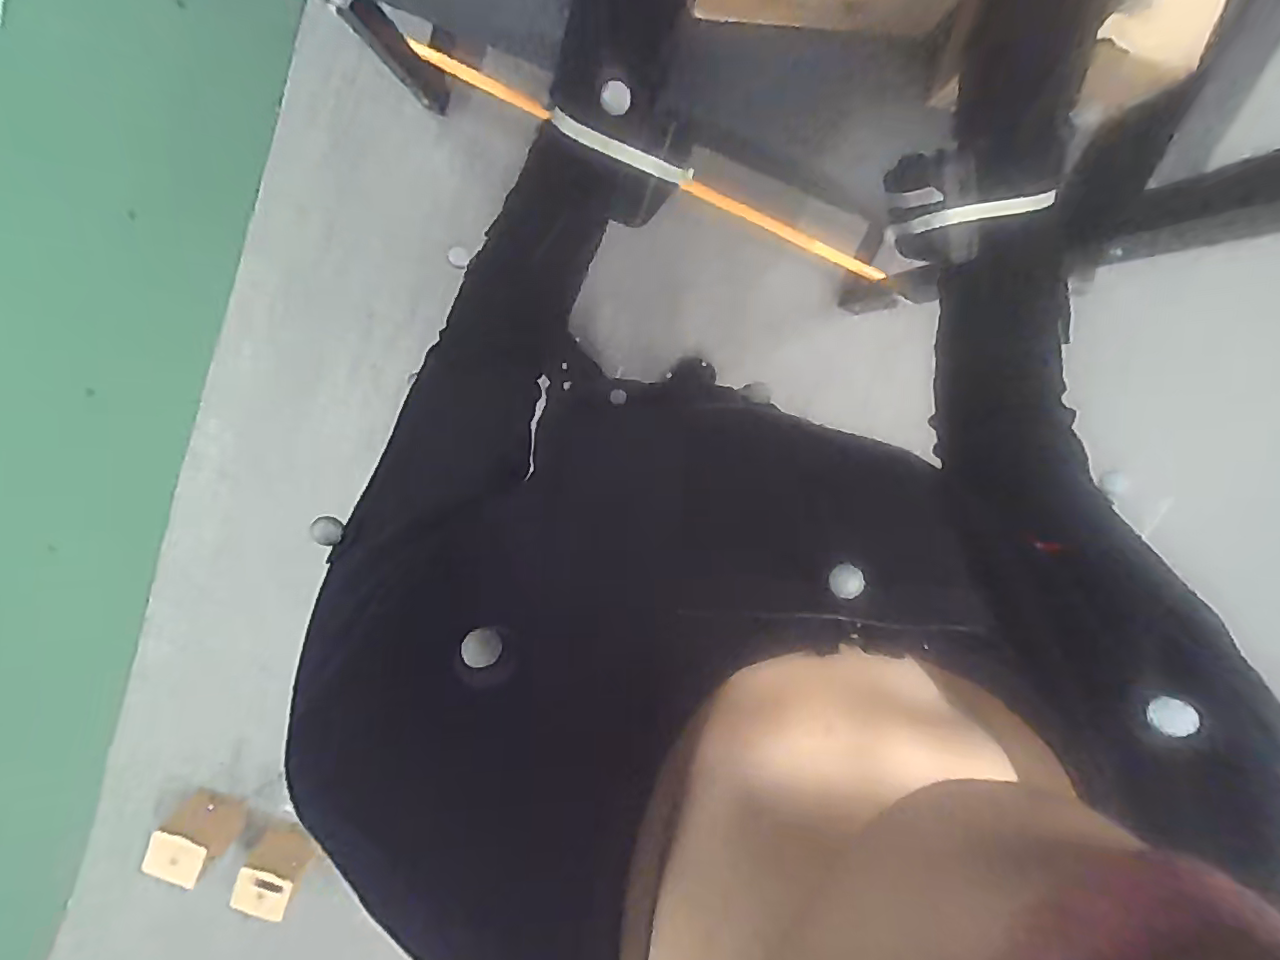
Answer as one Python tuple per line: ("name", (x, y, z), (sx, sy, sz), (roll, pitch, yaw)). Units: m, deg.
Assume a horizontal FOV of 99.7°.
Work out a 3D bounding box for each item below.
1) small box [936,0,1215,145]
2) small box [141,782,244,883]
("small box", (0.438, -0.481, 0.549), (0.168, 0.176, 0.179), (18, 101, -3))
("small box", (-1.403, 1.107, 1.706), (0.168, 0.176, 0.179), (26, 102, -5))
